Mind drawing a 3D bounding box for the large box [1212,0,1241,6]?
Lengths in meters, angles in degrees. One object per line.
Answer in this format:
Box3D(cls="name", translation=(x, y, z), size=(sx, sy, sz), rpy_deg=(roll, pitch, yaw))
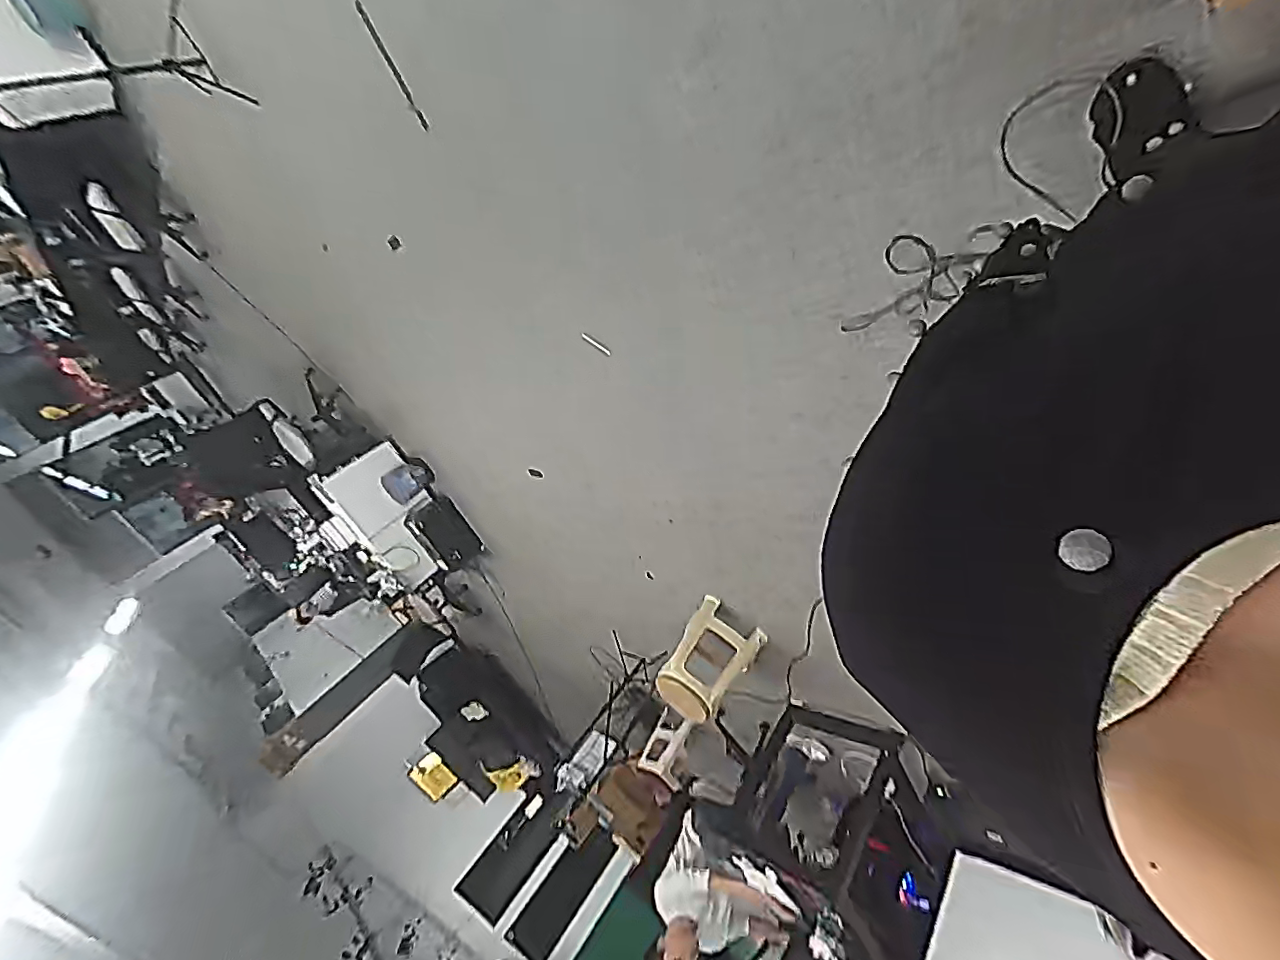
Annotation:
Box3D(cls="large box", translation=(0.791, -0.752, 0.496), size=(0.408, 0.320, 0.320), rpy_deg=(-5, 122, 48))
